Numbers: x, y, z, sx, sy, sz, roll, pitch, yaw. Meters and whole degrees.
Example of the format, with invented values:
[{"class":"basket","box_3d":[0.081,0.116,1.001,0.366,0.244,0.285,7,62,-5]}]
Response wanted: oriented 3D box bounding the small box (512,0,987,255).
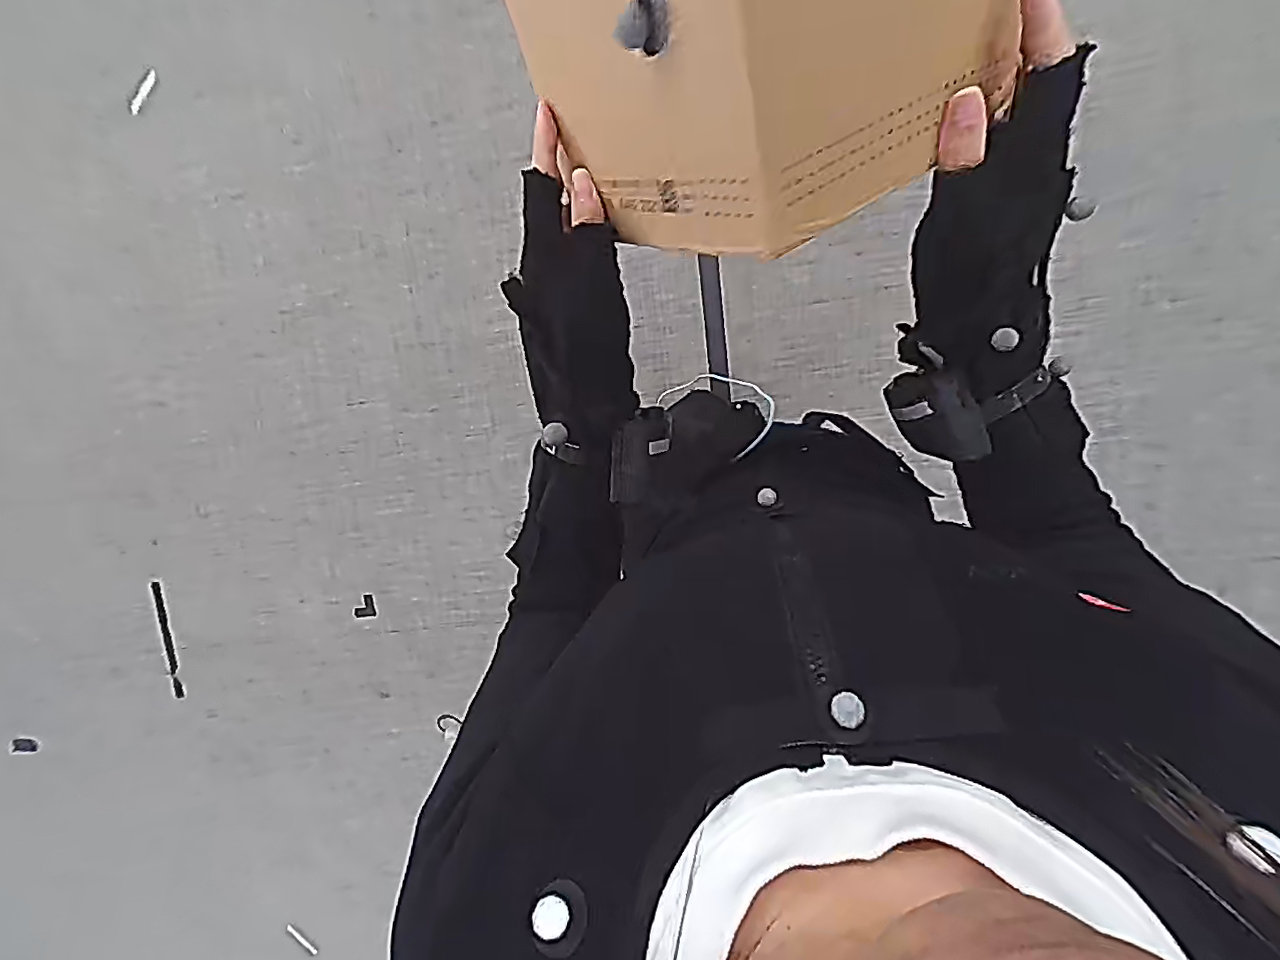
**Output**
[{"class":"small box","box_3d":[0.053,-0.233,0.275,0.179,0.168,0.176,-33,130,-16]}]
